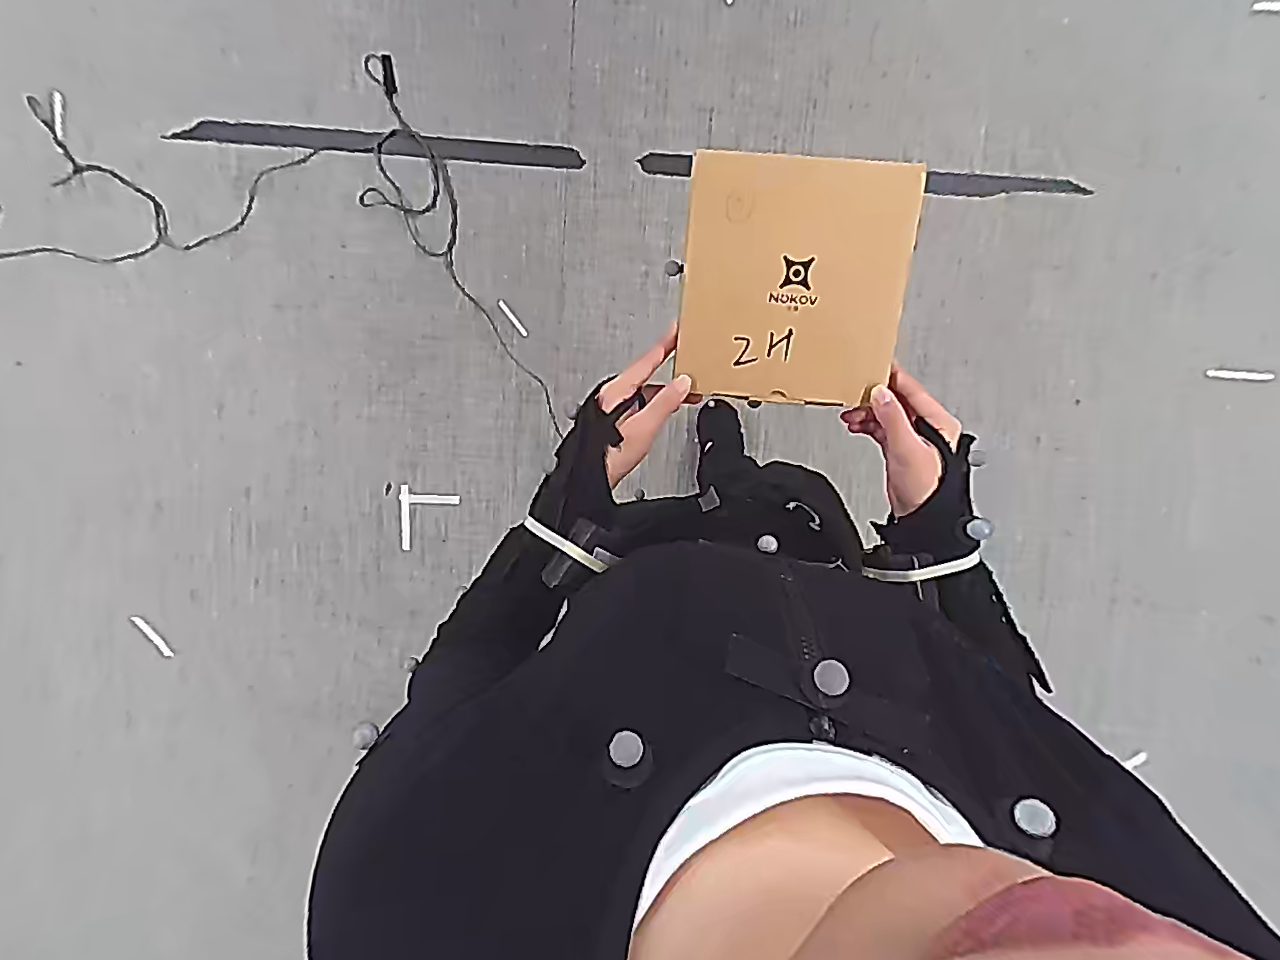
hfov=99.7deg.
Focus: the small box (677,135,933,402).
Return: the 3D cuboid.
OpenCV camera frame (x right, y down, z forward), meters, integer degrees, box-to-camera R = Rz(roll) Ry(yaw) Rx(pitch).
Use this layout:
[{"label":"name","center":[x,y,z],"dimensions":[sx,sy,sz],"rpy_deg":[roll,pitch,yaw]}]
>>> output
[{"label":"small box","center":[0.122,-0.169,0.475],"dimensions":[0.168,0.176,0.179],"rpy_deg":[6,103,3]}]
